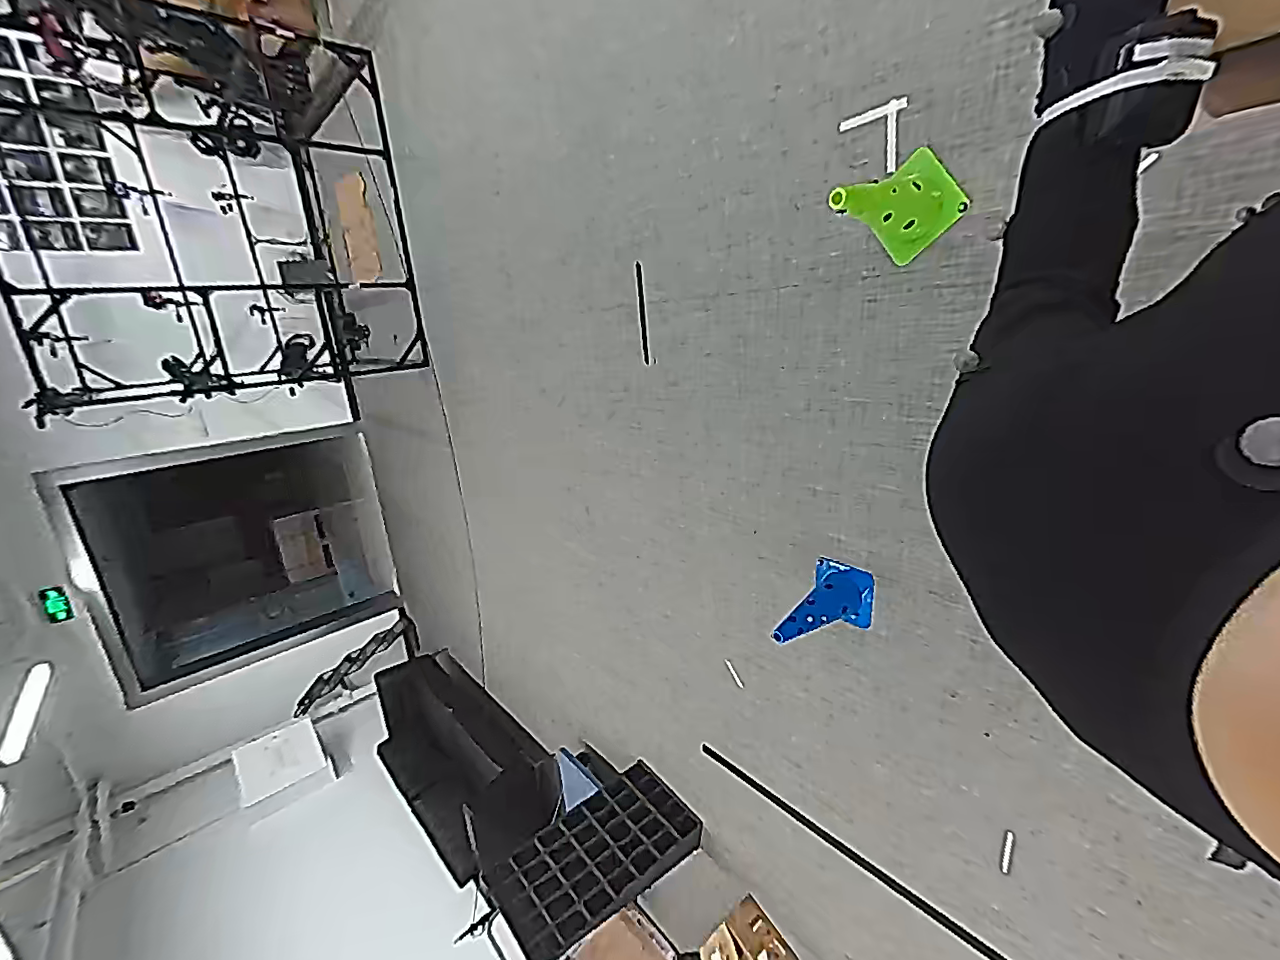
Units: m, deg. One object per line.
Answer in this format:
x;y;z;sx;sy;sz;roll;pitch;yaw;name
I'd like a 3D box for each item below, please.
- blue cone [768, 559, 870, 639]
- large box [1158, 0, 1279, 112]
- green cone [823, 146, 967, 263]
0.538;0.406;1.682;0.192;0.380;0.193;20;119;47;blue cone
0.568;-0.446;0.268;0.408;0.320;0.320;12;116;48;large box
0.541;-0.634;1.236;0.202;0.368;0.200;-44;69;51;green cone
